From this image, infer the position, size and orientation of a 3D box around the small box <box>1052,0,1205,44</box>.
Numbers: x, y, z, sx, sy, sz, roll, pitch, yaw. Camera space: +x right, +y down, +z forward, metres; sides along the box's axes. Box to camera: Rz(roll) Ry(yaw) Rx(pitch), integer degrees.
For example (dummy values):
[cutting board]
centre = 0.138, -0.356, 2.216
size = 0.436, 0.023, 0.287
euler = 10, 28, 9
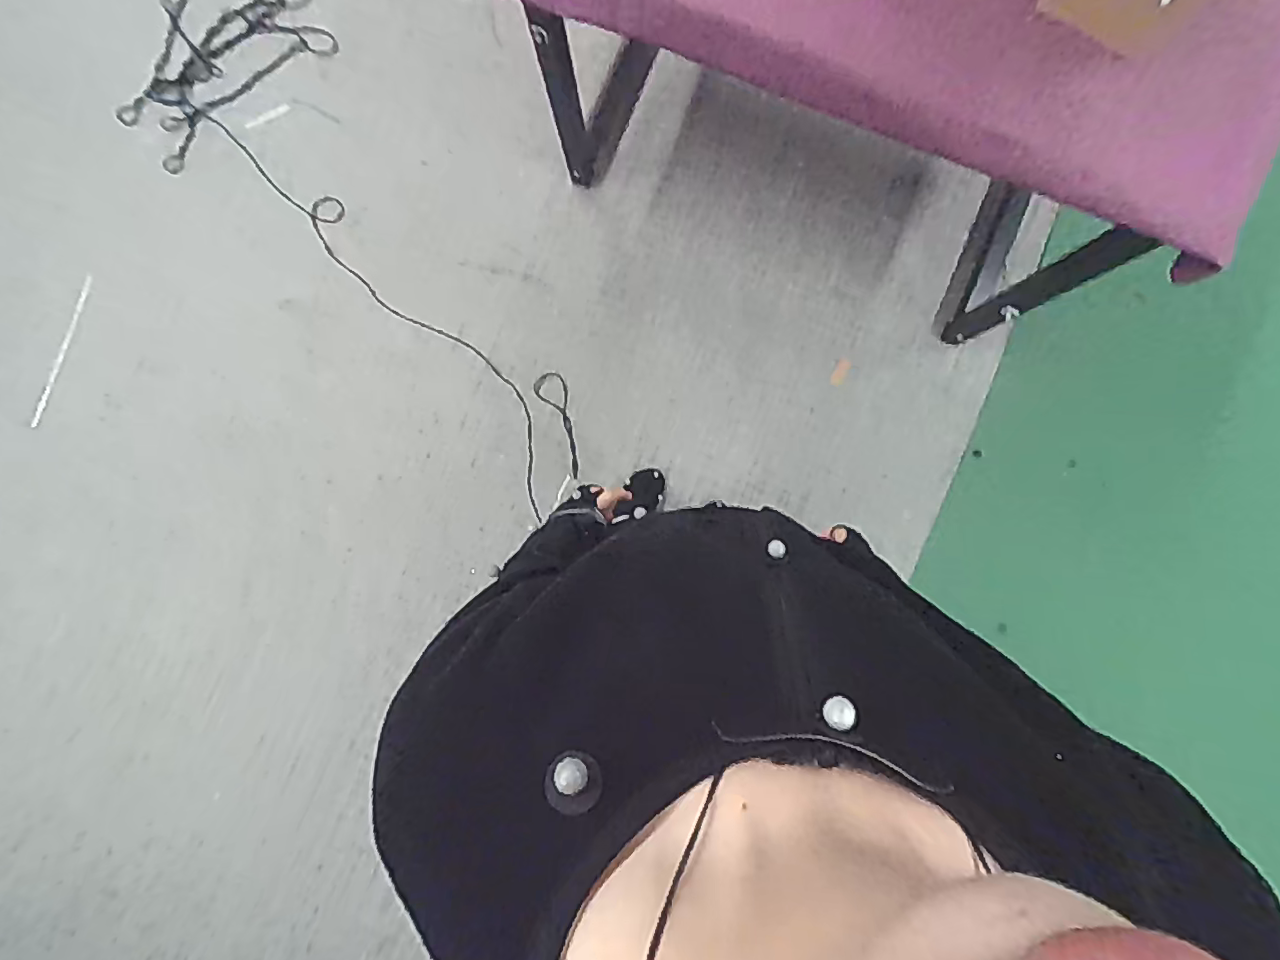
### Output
[small box]
centre = 0.691, -0.721, 0.694
size = 0.179, 0.176, 0.168
euler = 31, 90, 3
